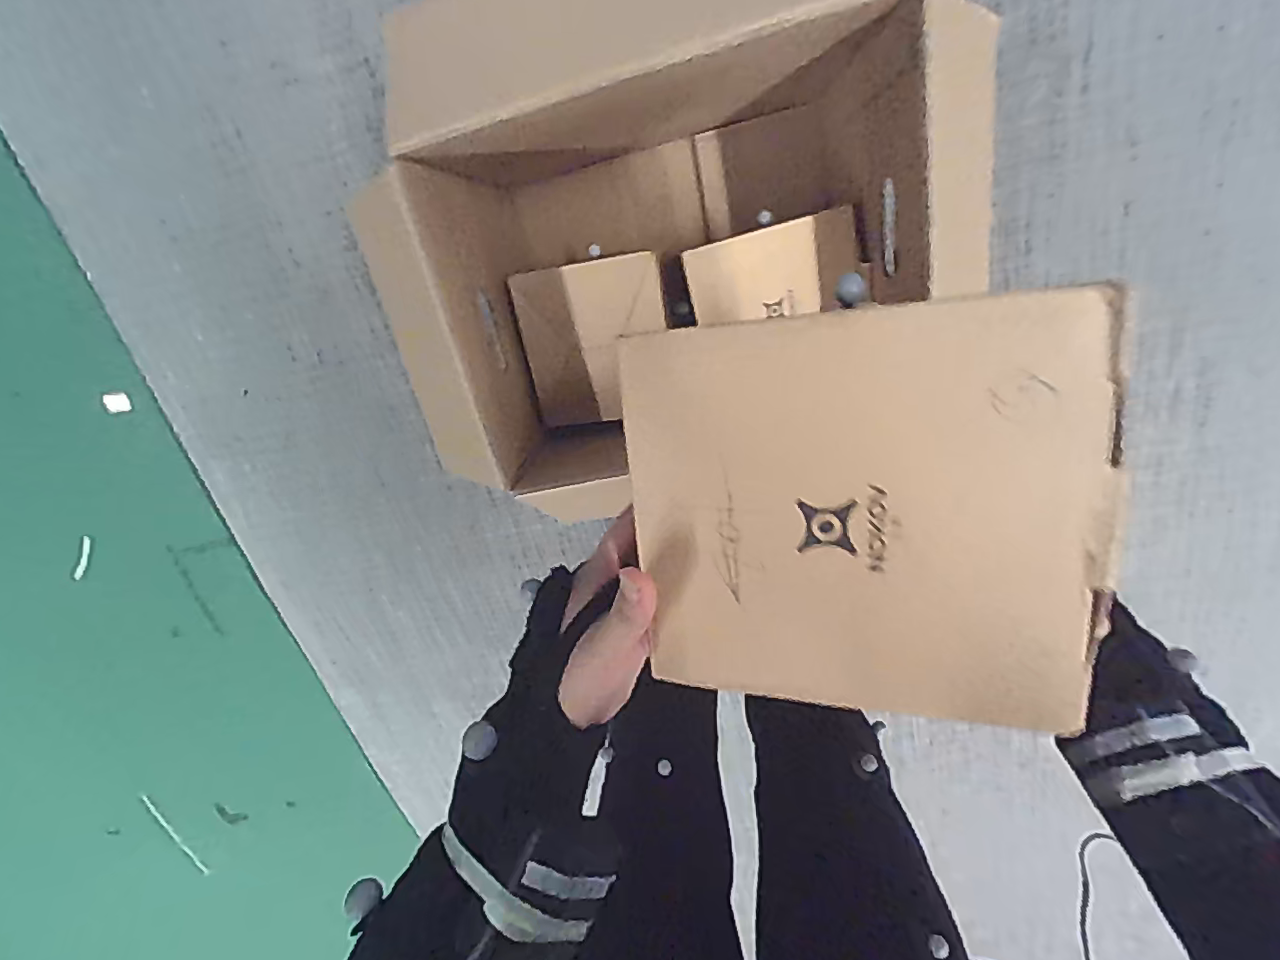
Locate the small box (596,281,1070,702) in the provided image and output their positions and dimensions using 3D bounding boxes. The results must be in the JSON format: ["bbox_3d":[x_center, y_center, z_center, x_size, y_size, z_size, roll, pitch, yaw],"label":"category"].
[{"bbox_3d":[0.097,-0.008,0.298,0.179,0.176,0.168,-2,104,22],"label":"small box"}]
